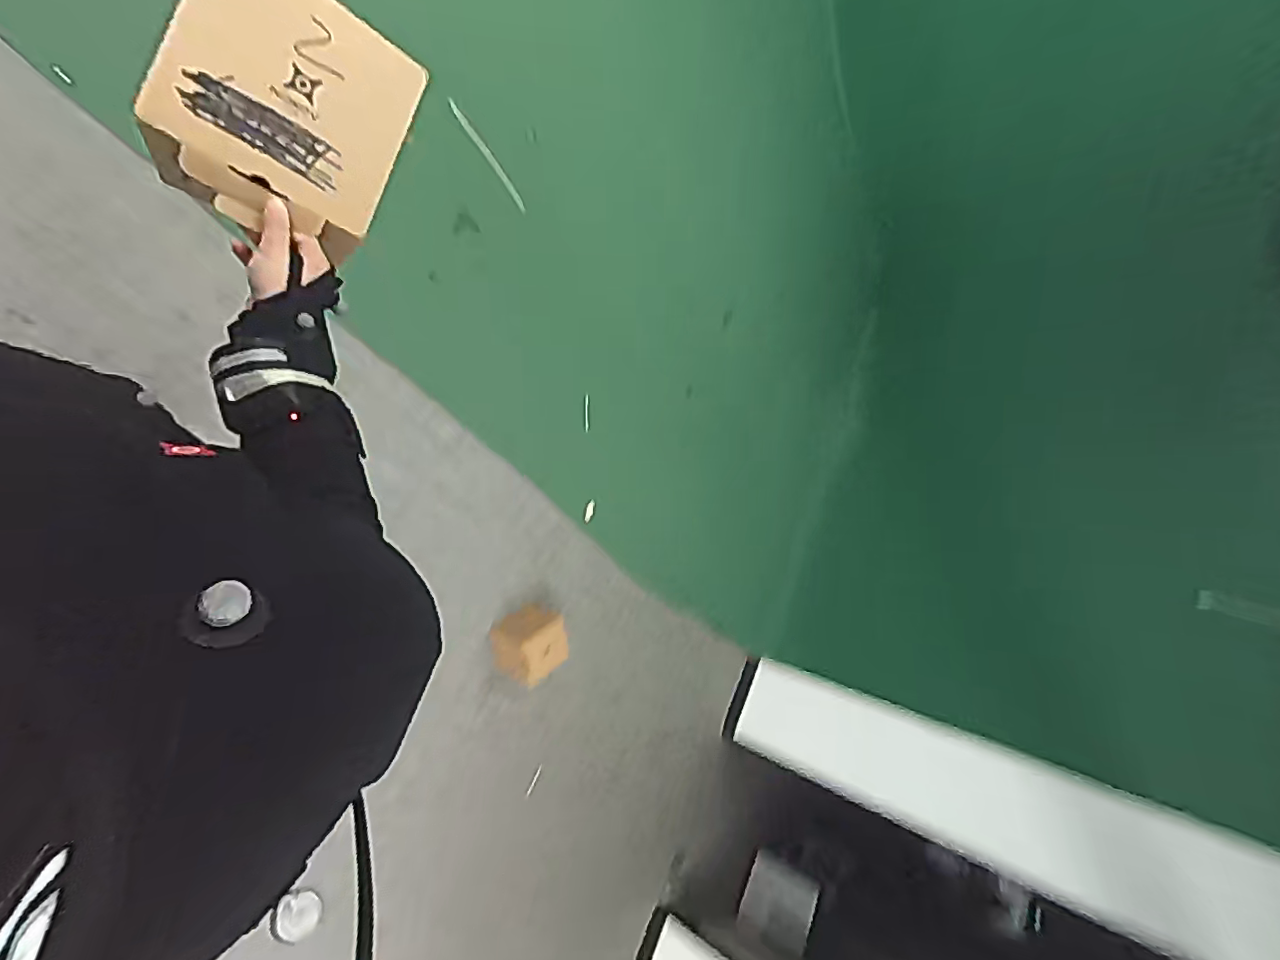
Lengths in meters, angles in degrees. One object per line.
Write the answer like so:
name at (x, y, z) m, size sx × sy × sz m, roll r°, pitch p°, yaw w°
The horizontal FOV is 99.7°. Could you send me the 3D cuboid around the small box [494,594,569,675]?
small box at (-0.368, 0.511, 1.808) m, size 0.179 × 0.176 × 0.168 m, roll -32°, pitch 124°, yaw -44°
